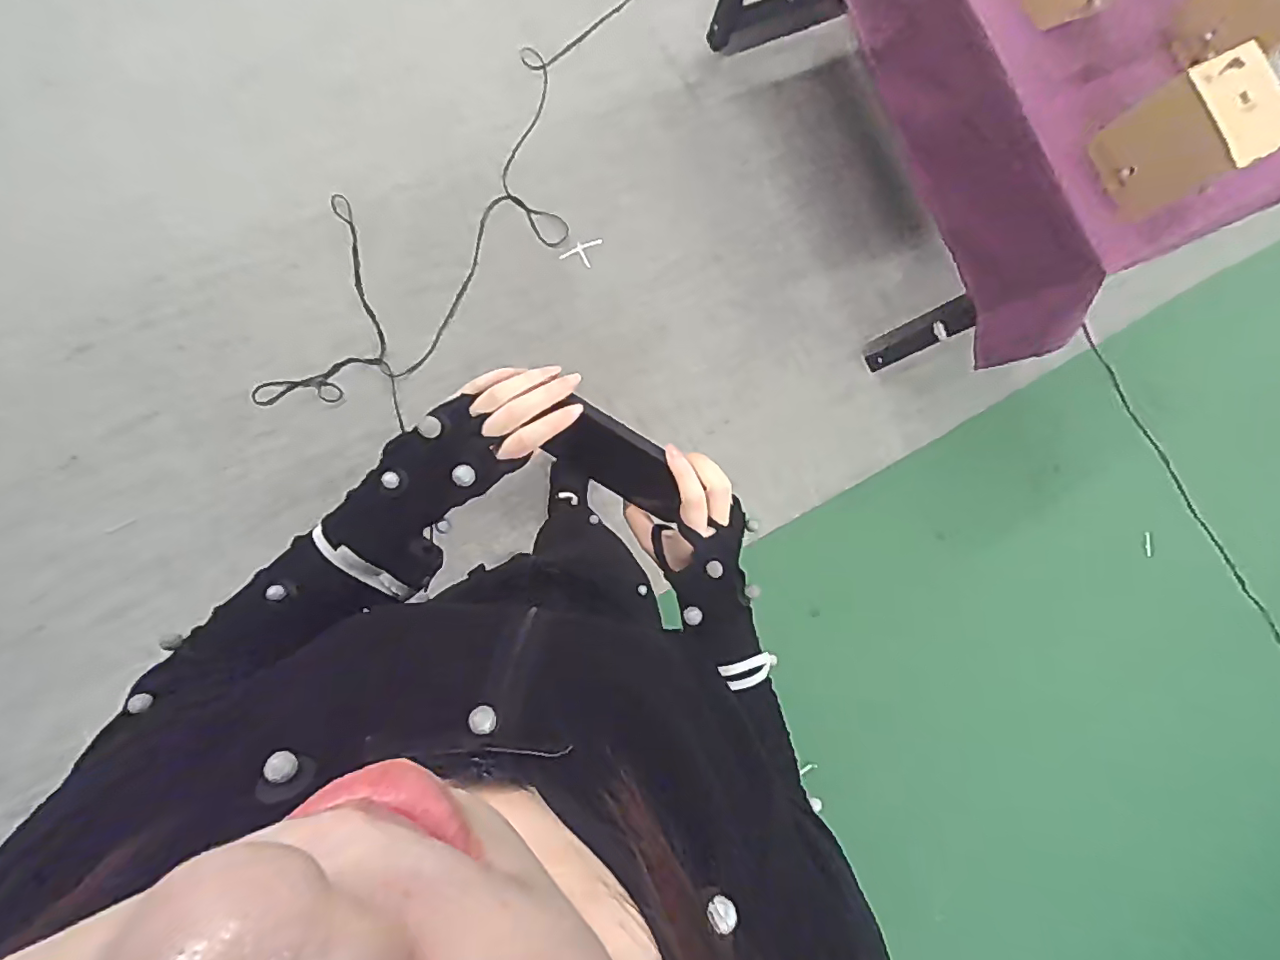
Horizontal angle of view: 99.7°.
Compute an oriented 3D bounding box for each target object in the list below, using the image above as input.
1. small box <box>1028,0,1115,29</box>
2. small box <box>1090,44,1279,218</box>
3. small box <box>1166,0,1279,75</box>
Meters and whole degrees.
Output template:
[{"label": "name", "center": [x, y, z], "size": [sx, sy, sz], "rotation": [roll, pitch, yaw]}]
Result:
[{"label": "small box", "center": [0.793, -0.946, 0.937], "size": [0.168, 0.176, 0.179], "rotation": [-24, 91, -11]}, {"label": "small box", "center": [0.949, -0.588, 0.939], "size": [0.168, 0.176, 0.179], "rotation": [-28, 92, -12]}, {"label": "small box", "center": [1.145, -0.867, 0.995], "size": [0.179, 0.176, 0.168], "rotation": [-29, 91, -11]}]
